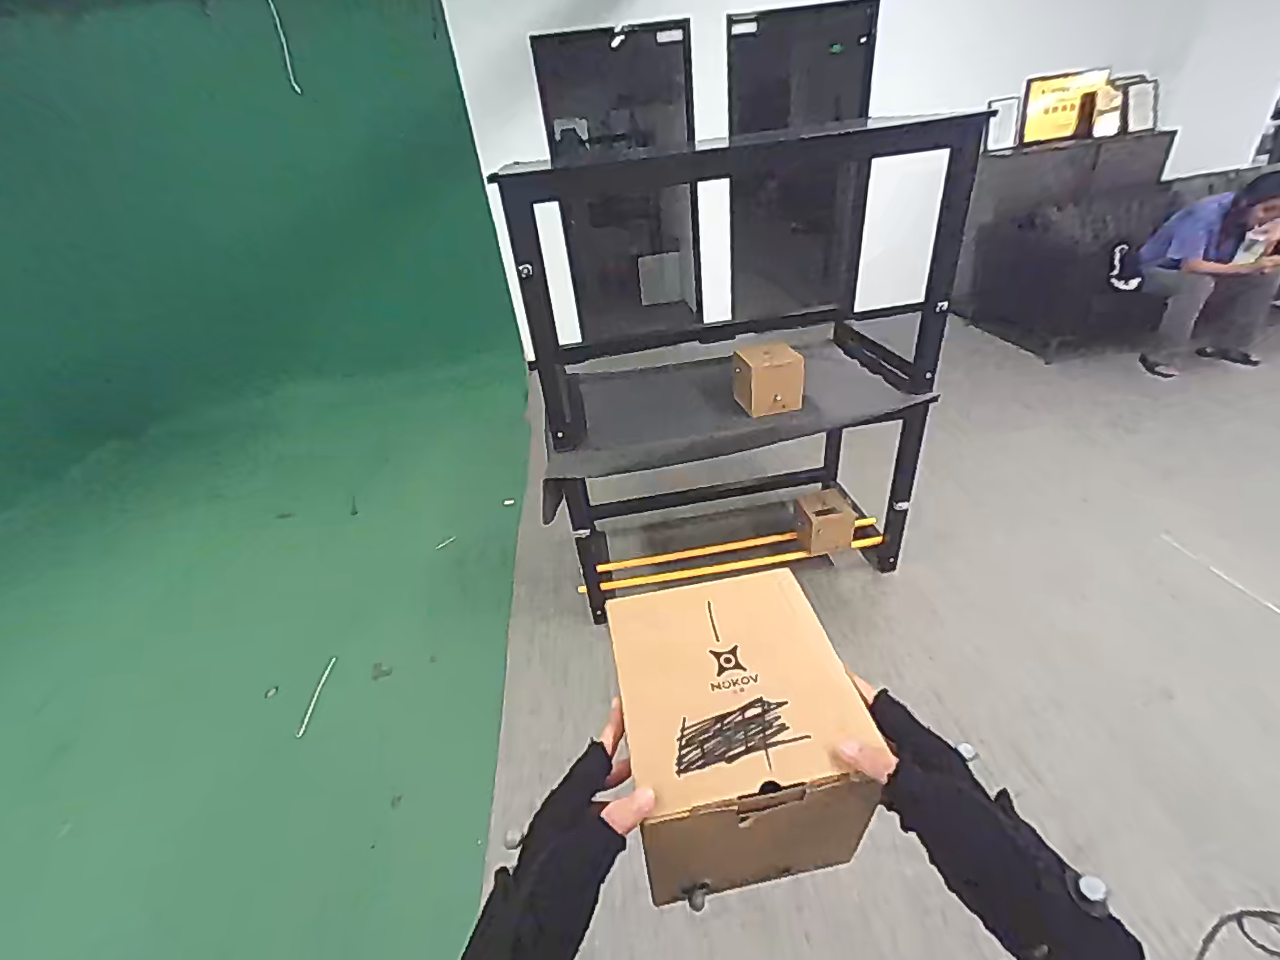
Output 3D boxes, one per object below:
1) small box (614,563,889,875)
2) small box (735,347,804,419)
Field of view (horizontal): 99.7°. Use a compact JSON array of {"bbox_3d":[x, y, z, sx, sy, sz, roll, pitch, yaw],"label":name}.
[{"bbox_3d":[0.075,0.200,0.456,0.168,0.176,0.179,-8,37,-6],"label":"small box"},{"bbox_3d":[0.407,-0.310,1.725,0.168,0.176,0.179,-11,32,-5],"label":"small box"}]
